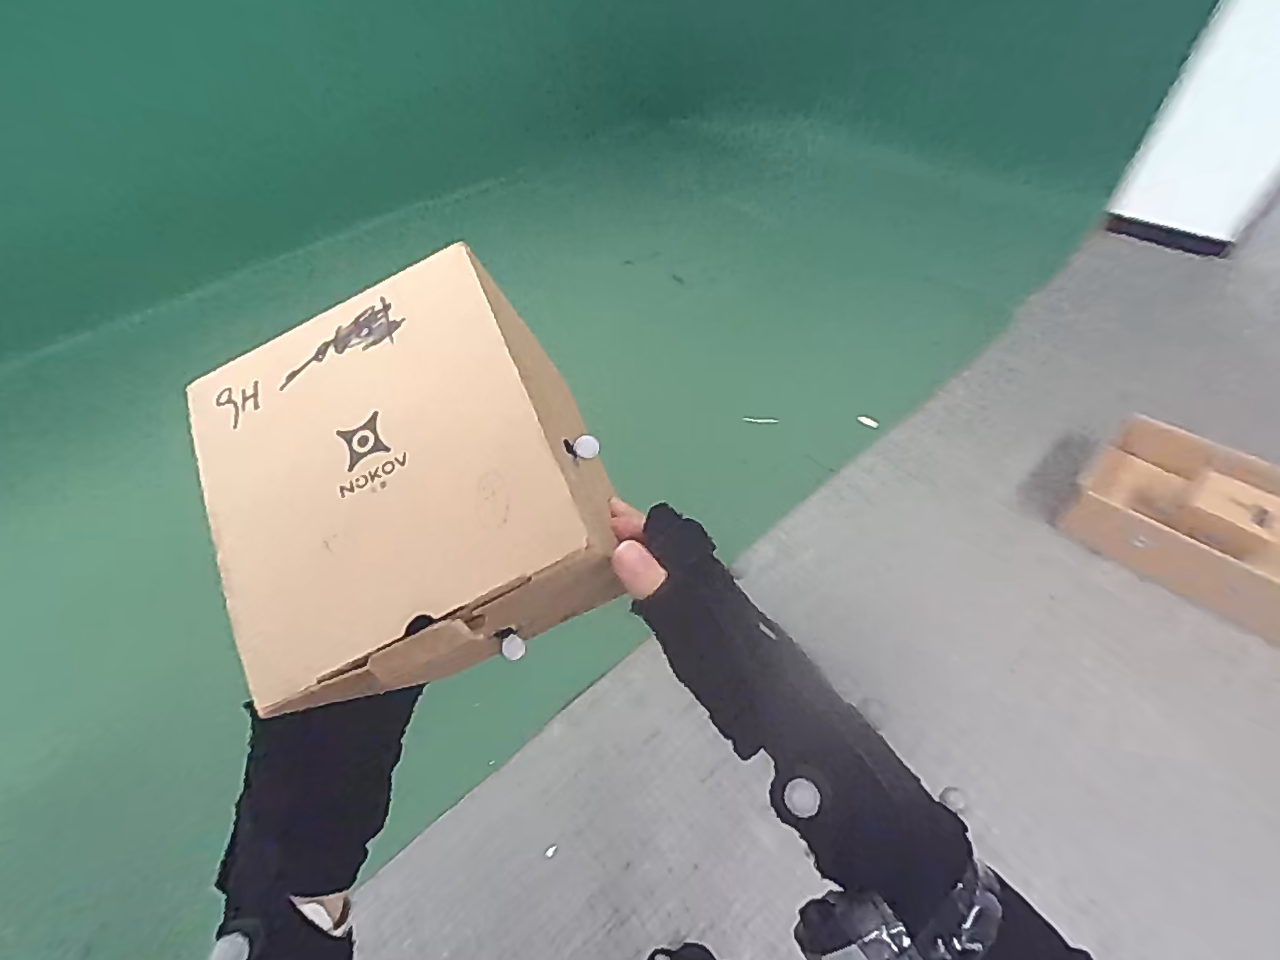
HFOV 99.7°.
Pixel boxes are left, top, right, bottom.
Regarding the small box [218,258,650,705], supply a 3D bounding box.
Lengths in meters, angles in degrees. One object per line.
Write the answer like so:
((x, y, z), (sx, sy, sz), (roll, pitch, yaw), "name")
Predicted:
((-0.104, 0.010, 0.337), (0.168, 0.176, 0.179), (-25, 74, 2), "small box")

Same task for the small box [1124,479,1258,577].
((1.476, 0.136, 1.457), (0.168, 0.176, 0.179), (-36, 55, -25), "small box")
